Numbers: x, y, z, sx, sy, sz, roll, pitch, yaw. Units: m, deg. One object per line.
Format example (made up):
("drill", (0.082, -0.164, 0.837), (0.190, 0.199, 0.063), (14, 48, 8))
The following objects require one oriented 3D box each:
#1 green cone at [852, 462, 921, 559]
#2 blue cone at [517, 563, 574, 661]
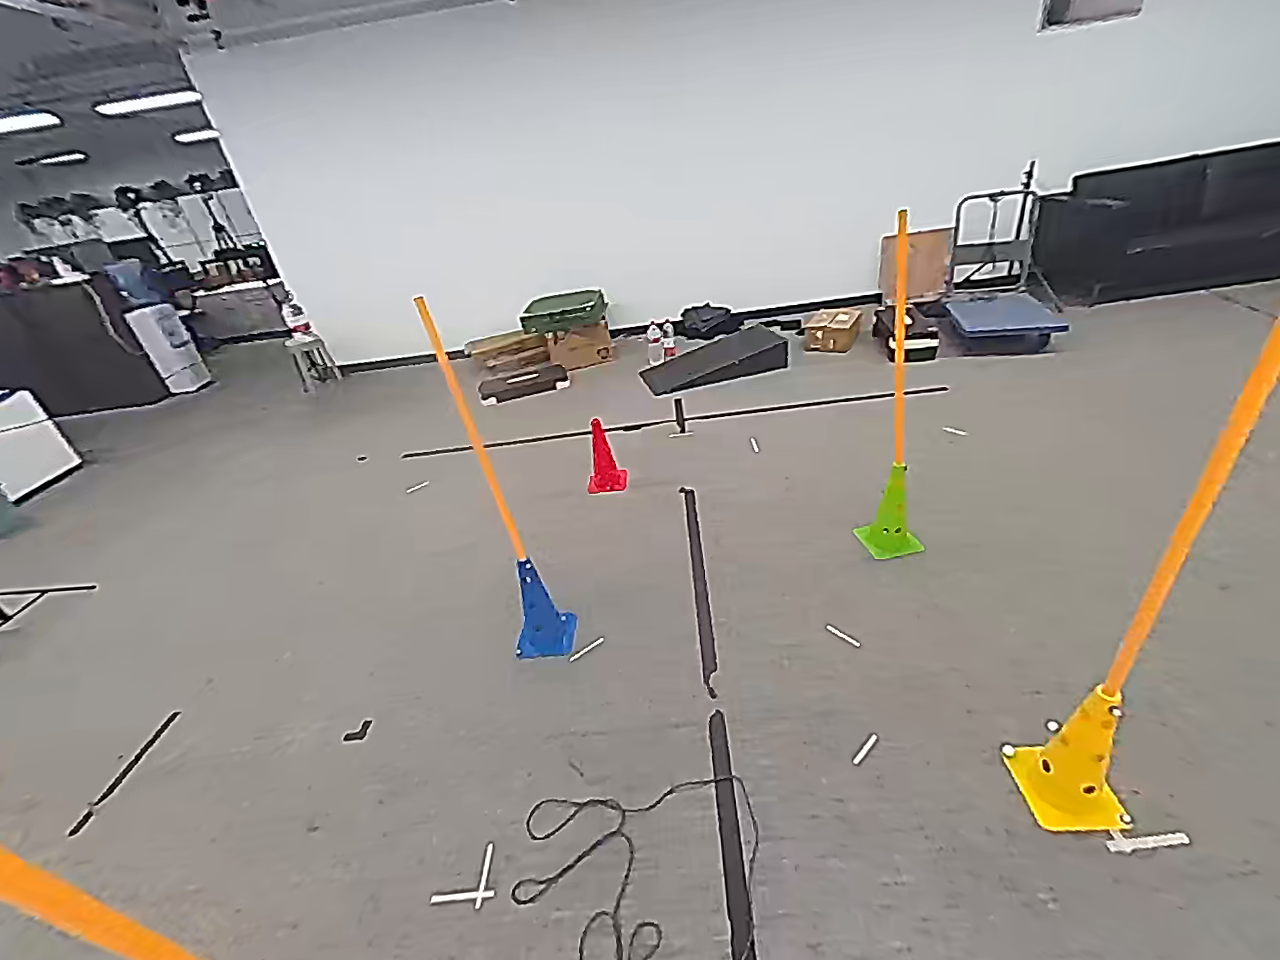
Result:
("green cone", (0.950, 0.091, 2.049), (0.200, 0.368, 0.202), (-12, 33, -5))
("blue cone", (-0.358, 0.430, 1.853), (0.193, 0.380, 0.192), (-5, 32, 7))
